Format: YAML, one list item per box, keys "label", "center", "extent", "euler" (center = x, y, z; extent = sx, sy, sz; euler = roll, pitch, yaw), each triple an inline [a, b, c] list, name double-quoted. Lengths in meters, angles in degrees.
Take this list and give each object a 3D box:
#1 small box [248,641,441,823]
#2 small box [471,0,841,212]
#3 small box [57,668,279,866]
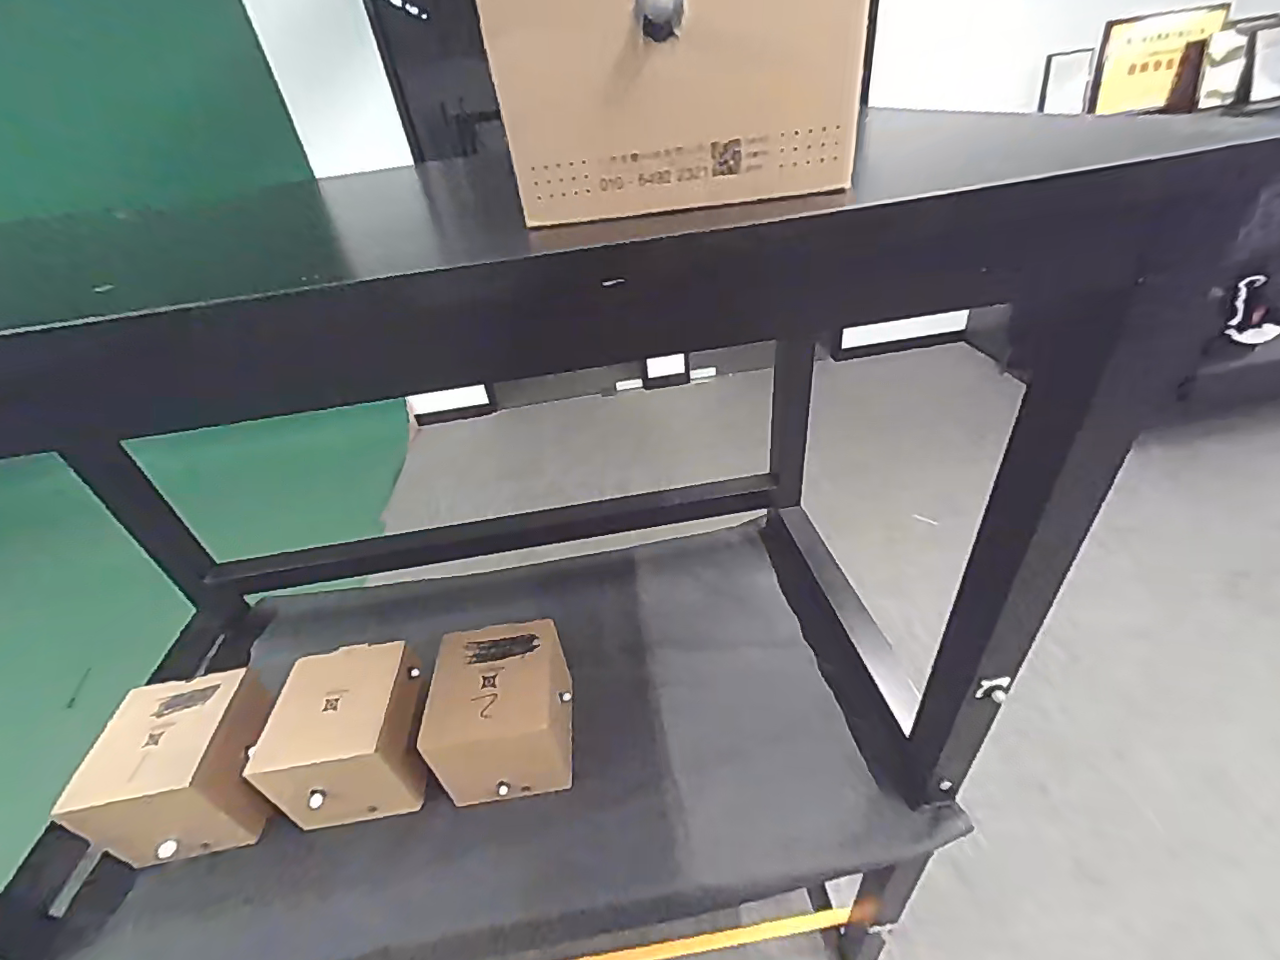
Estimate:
- label: "small box"
  center: [-0.404, 0.367, 0.781]
  extent: [0.168, 0.176, 0.179]
  euler: [-9, 35, -2]
- label: "small box"
  center: [0.011, -0.256, 0.299]
  extent: [0.168, 0.176, 0.179]
  euler: [-4, 35, 6]
- label: "small box"
  center: [-0.628, 0.404, 0.769]
  extent: [0.168, 0.176, 0.179]
  euler: [-11, 36, -4]
